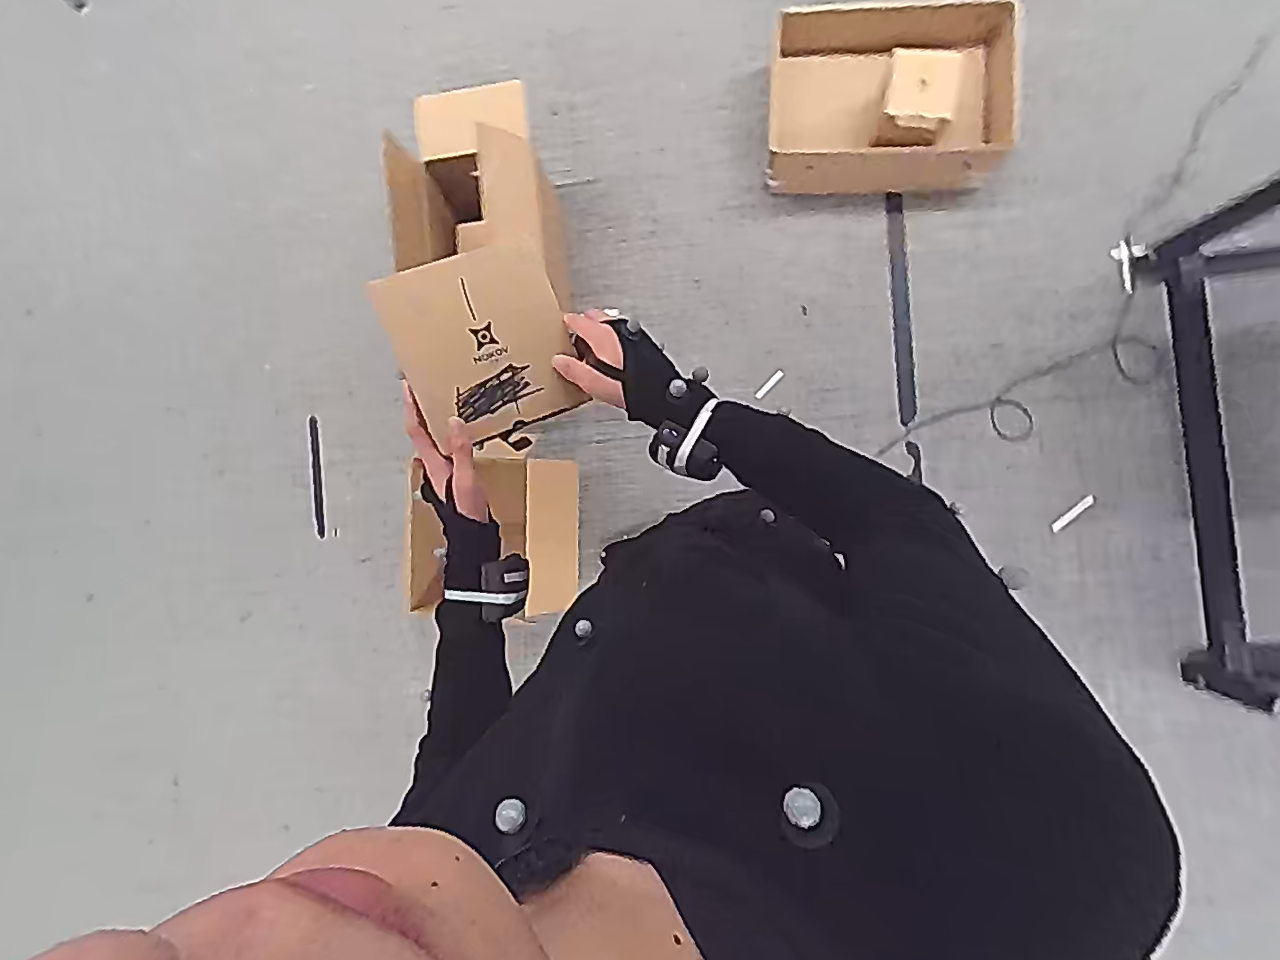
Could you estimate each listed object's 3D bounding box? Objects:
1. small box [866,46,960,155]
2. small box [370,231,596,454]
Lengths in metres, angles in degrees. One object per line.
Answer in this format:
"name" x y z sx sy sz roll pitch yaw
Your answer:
"small box" 0.718 -1.003 1.442 0.168 0.176 0.179 9 90 7
"small box" -0.165 -0.143 0.597 0.168 0.176 0.179 -22 102 -12
